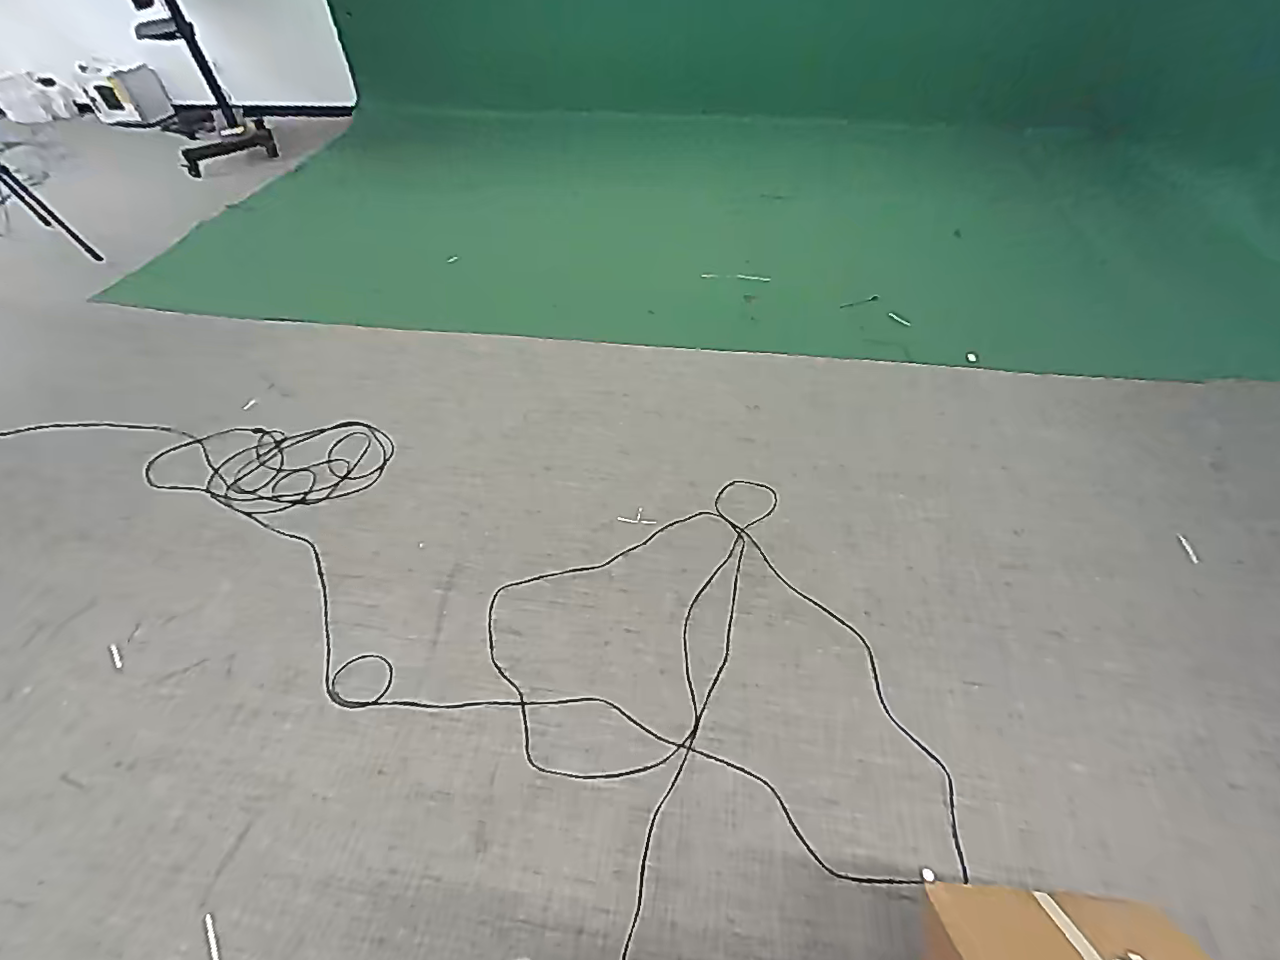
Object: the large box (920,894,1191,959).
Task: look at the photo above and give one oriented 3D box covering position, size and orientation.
[{"bbox_3d":[0.546,0.764,0.590,0.320,0.408,0.320,1,88,7],"label":"large box"}]
